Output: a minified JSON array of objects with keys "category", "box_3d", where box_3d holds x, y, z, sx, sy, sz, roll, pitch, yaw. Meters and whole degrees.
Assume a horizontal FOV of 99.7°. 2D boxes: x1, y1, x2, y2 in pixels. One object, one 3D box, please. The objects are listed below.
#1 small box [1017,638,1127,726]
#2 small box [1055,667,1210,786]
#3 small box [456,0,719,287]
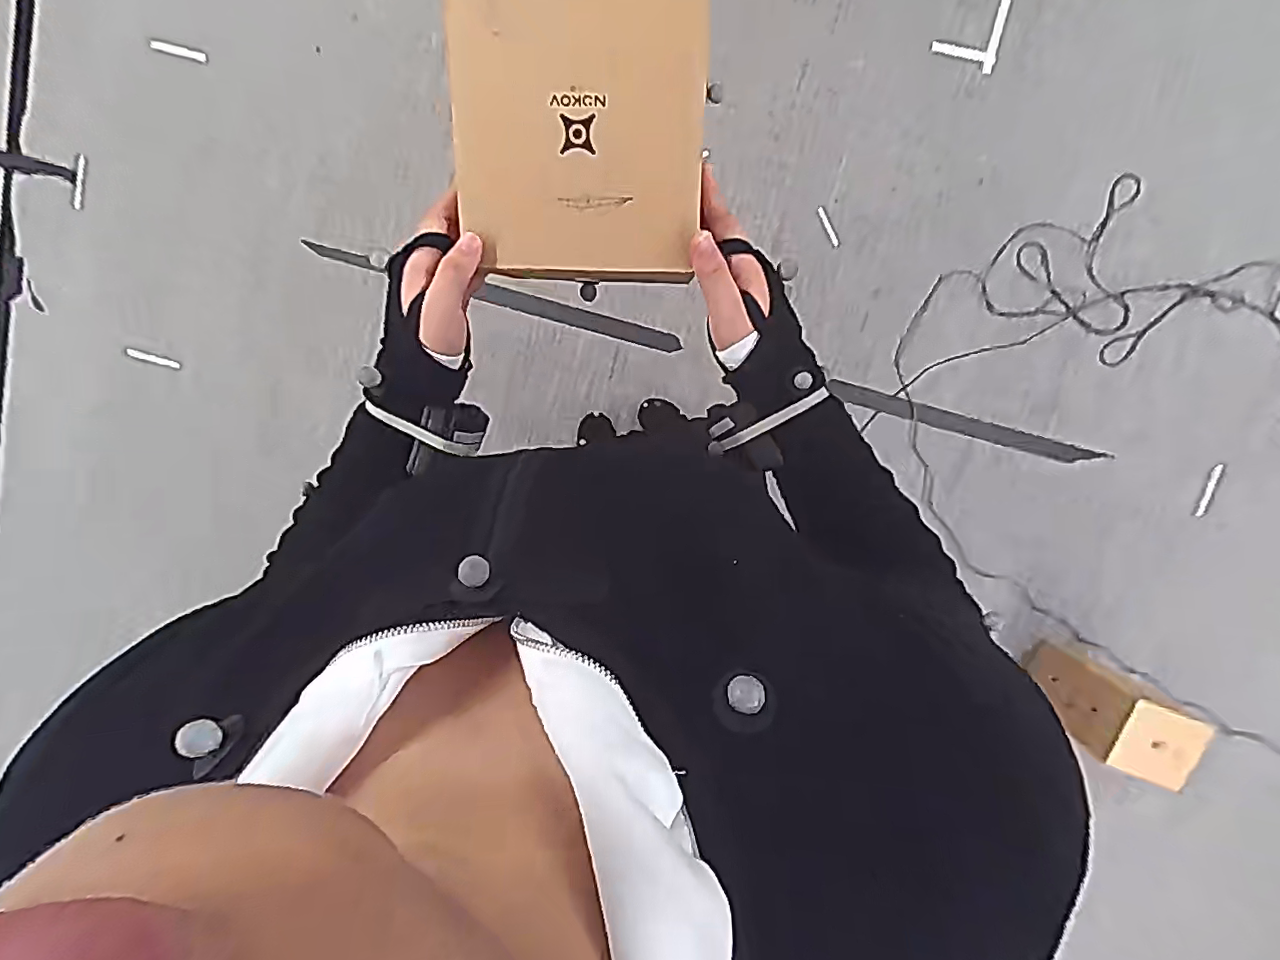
[{"category":"small box","box_3d":[1.144,0.550,1.422,0.168,0.176,0.179,23,97,-1]},{"category":"small box","box_3d":[1.128,0.561,1.258,0.179,0.176,0.168,20,99,0]},{"category":"small box","box_3d":[-0.034,-0.253,0.429,0.168,0.176,0.179,3,108,2]}]
